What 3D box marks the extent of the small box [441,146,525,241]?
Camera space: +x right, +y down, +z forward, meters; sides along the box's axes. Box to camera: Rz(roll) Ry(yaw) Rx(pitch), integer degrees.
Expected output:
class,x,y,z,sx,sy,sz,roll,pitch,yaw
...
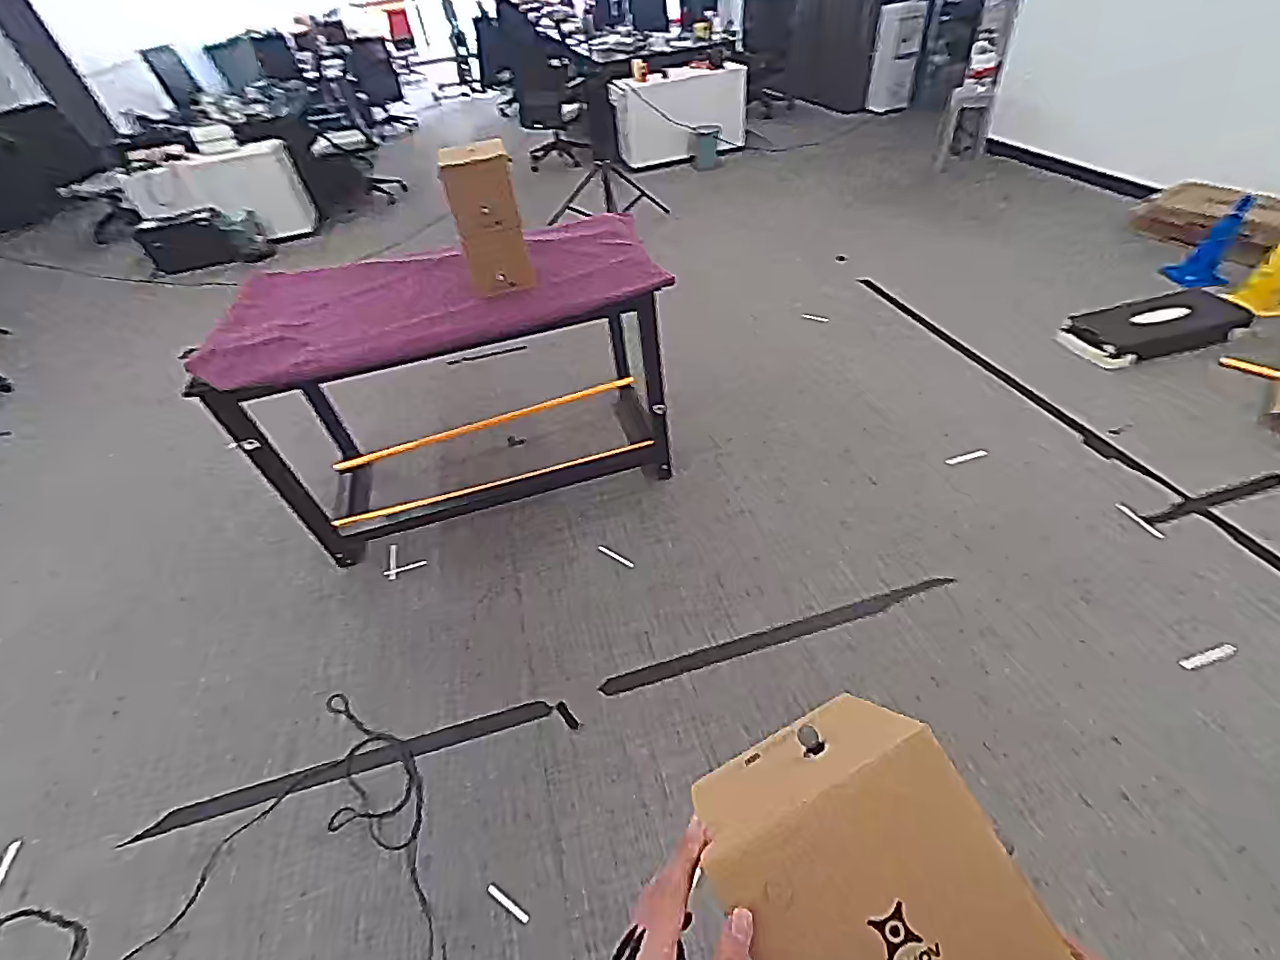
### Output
class,x,y,z,sx,sy,sz,roll,pitch,yaw
small box,-0.404,-0.744,1.405,0.168,0.176,0.179,-15,45,-5

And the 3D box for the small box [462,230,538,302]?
class,x,y,z,sx,sy,sz,roll,pitch,yaw
small box,-0.392,-0.625,1.520,0.168,0.176,0.179,-14,45,-6
